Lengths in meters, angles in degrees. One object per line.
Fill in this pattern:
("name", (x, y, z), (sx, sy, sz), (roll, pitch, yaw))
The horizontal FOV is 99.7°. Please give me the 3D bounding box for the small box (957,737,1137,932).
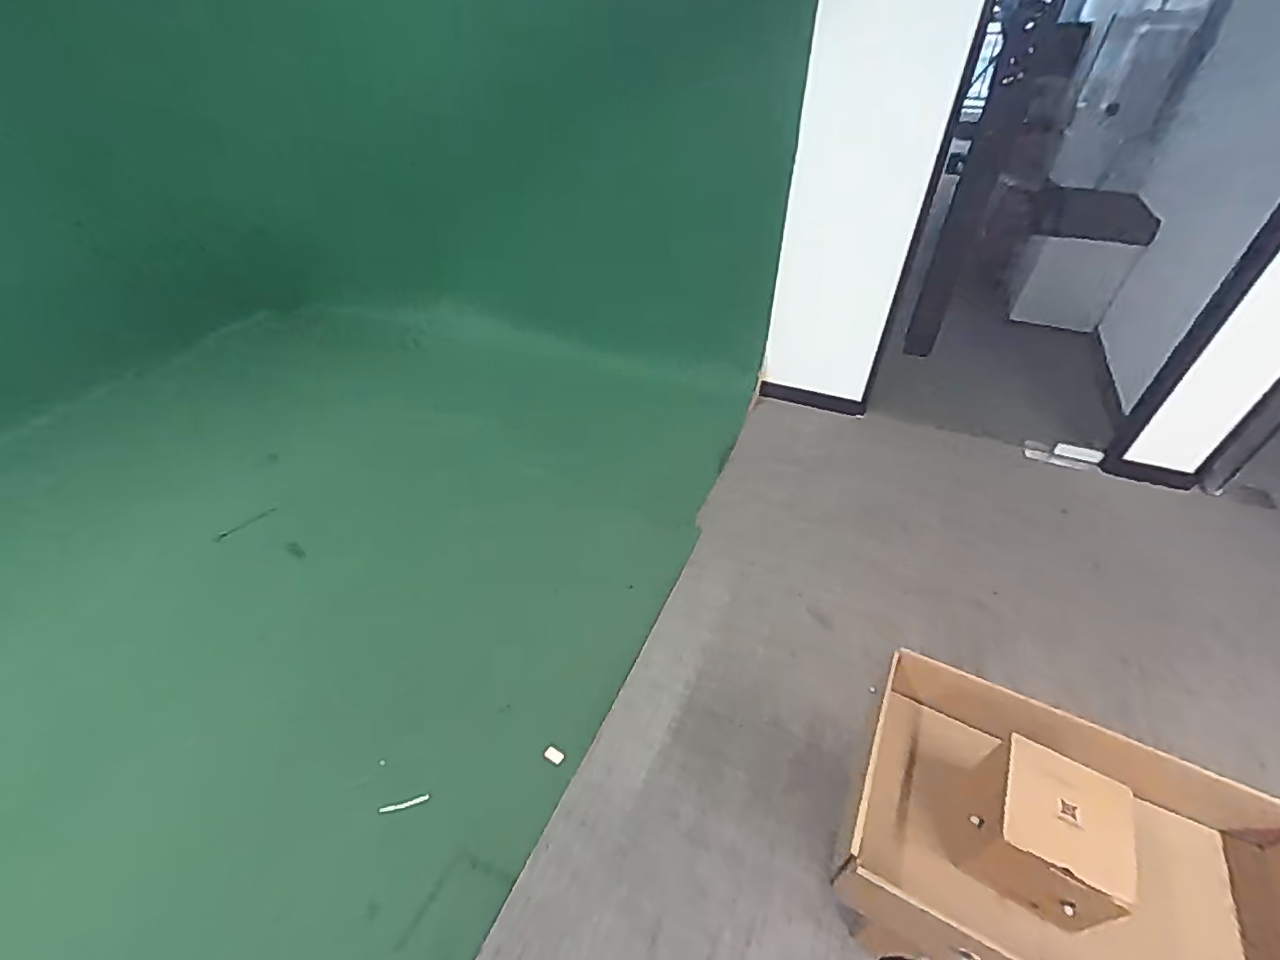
("small box", (0.620, 0.552, 0.841), (0.168, 0.176, 0.179), (23, 45, 21))
